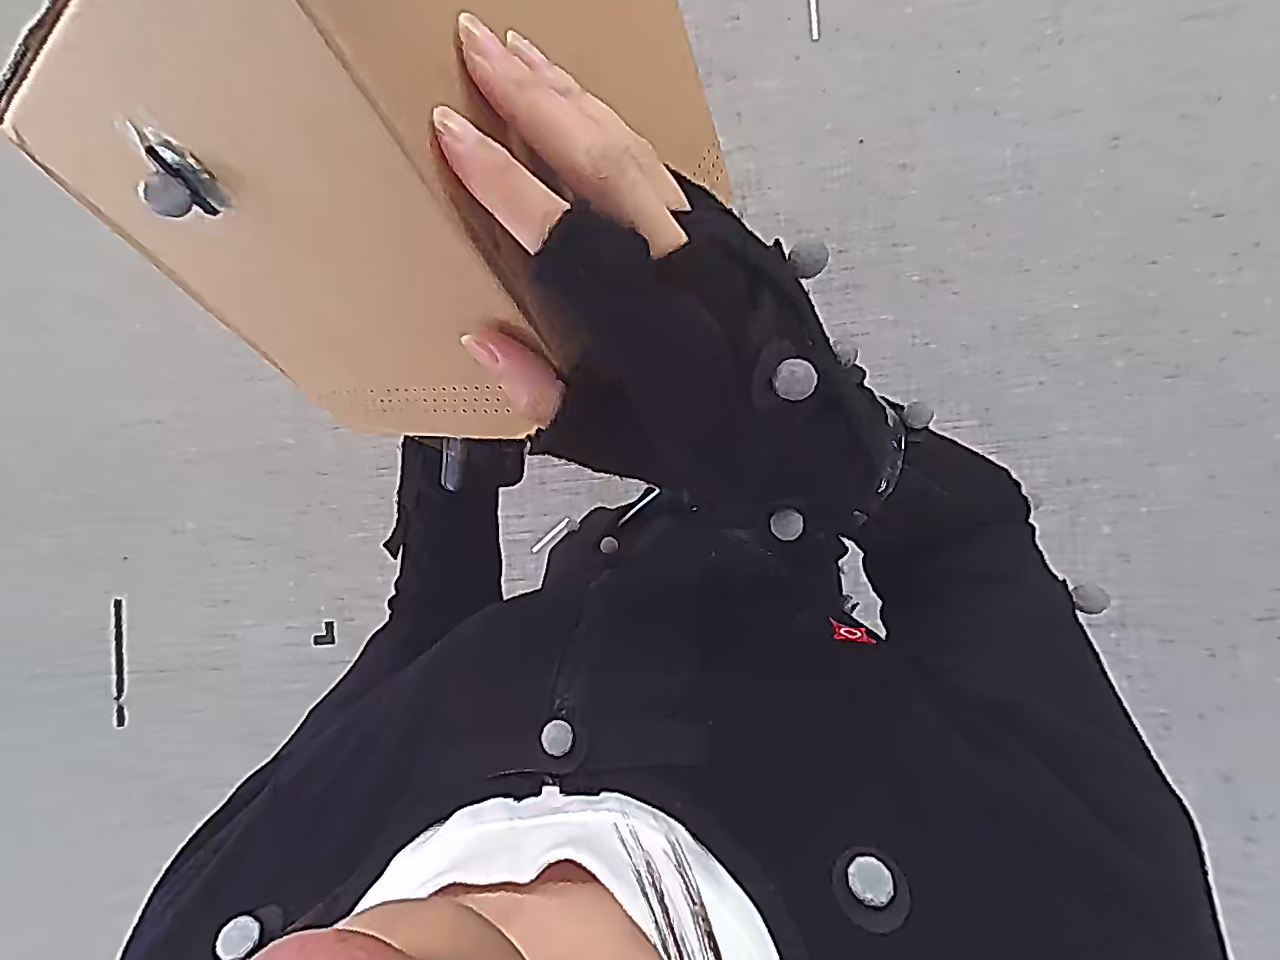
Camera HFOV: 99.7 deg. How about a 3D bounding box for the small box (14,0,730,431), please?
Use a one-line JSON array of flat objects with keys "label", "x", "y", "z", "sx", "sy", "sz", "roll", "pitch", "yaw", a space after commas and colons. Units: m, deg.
[{"label": "small box", "x": -0.084, "y": -0.135, "z": 0.235, "sx": 0.179, "sy": 0.176, "sz": 0.168, "roll": 5, "pitch": 58, "yaw": 33}]
